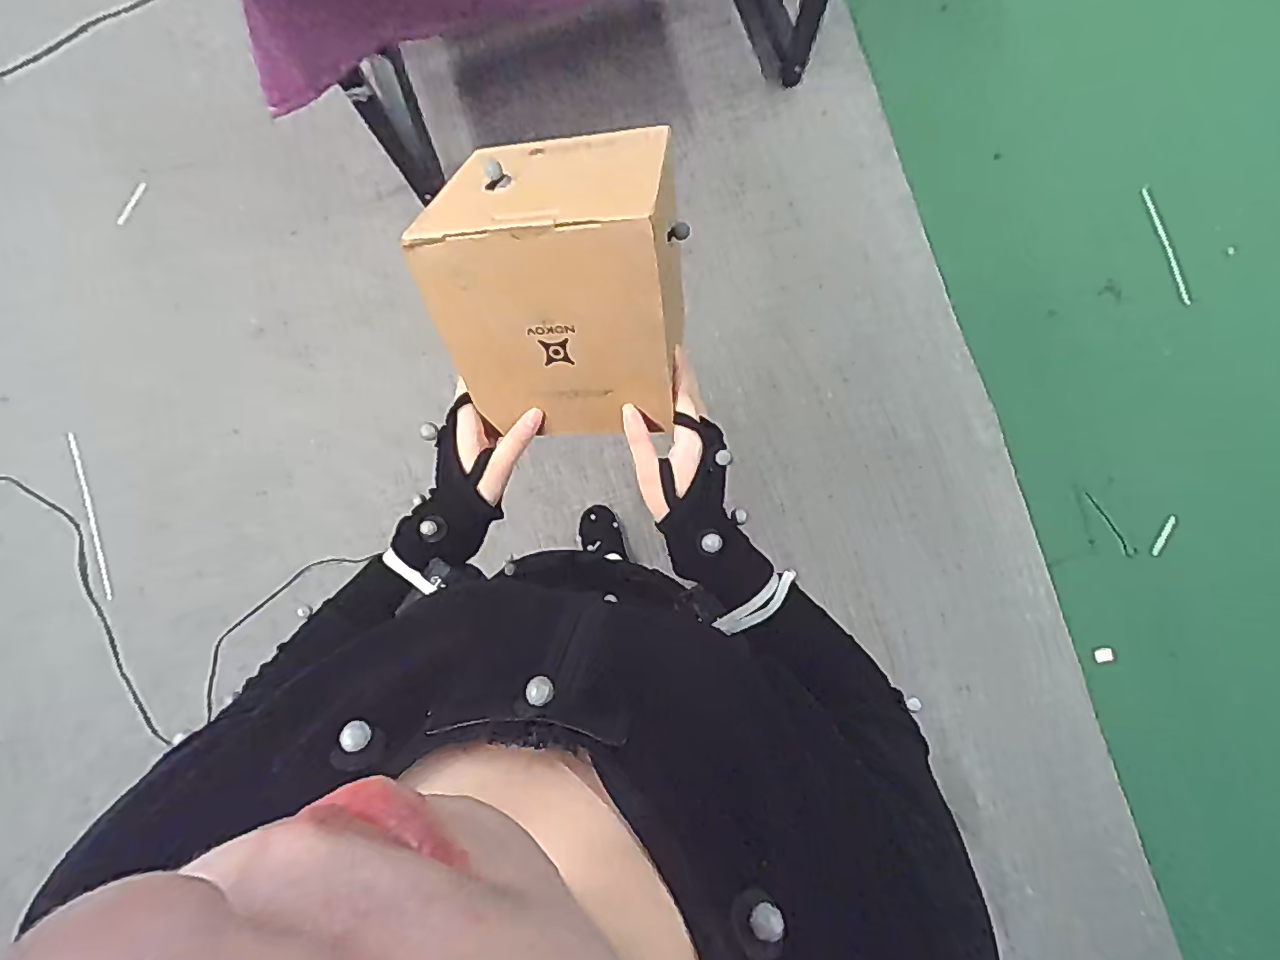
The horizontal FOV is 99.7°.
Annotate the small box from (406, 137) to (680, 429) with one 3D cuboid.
[{"bbox_3d":[-0.056,-0.163,0.450,0.168,0.179,0.176,0,49,9],"label":"small box"}]
